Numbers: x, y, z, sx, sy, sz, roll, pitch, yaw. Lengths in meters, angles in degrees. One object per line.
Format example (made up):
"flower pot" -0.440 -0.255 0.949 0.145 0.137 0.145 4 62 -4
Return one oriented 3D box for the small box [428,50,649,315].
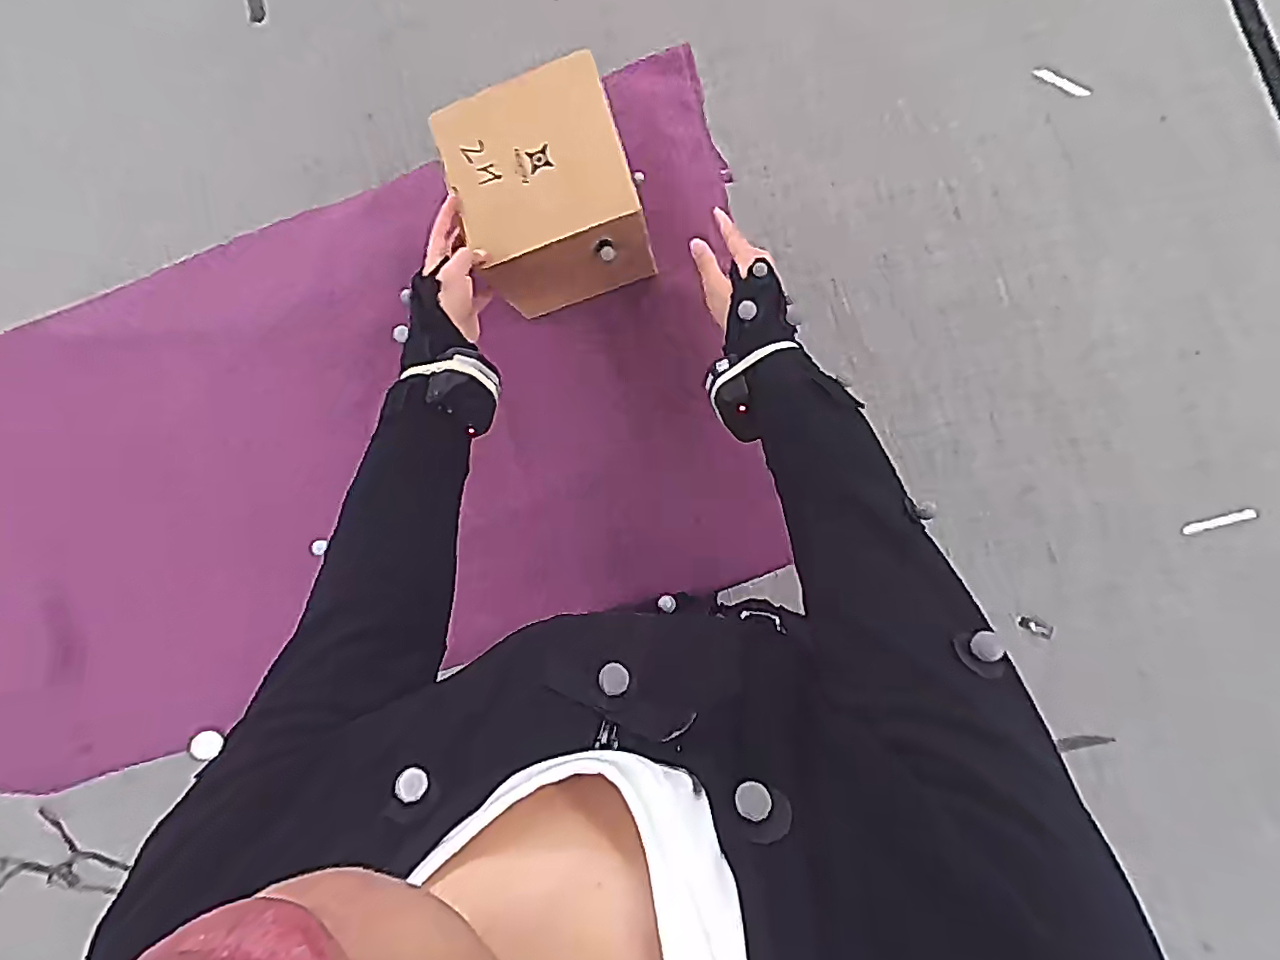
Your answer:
"small box" -0.095 -0.306 0.598 0.179 0.176 0.168 -18 88 7
